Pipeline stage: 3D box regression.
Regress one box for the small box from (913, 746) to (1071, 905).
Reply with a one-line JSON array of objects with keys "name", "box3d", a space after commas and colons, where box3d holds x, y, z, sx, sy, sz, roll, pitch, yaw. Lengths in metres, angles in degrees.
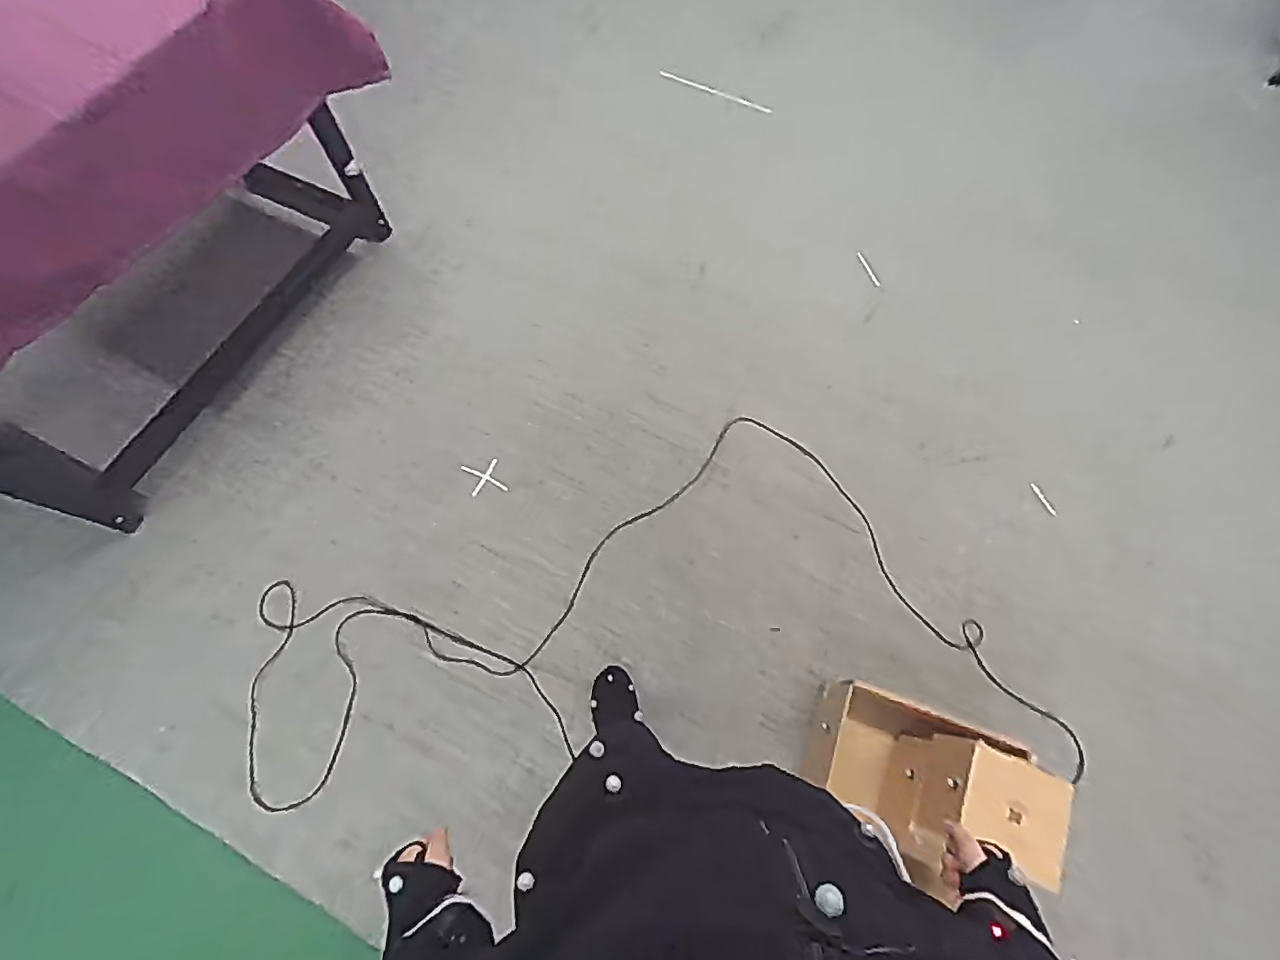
[{"name": "small box", "box3d": [0.626, 0.606, 0.979, 0.168, 0.176, 0.179, 23, 71, 10]}]
